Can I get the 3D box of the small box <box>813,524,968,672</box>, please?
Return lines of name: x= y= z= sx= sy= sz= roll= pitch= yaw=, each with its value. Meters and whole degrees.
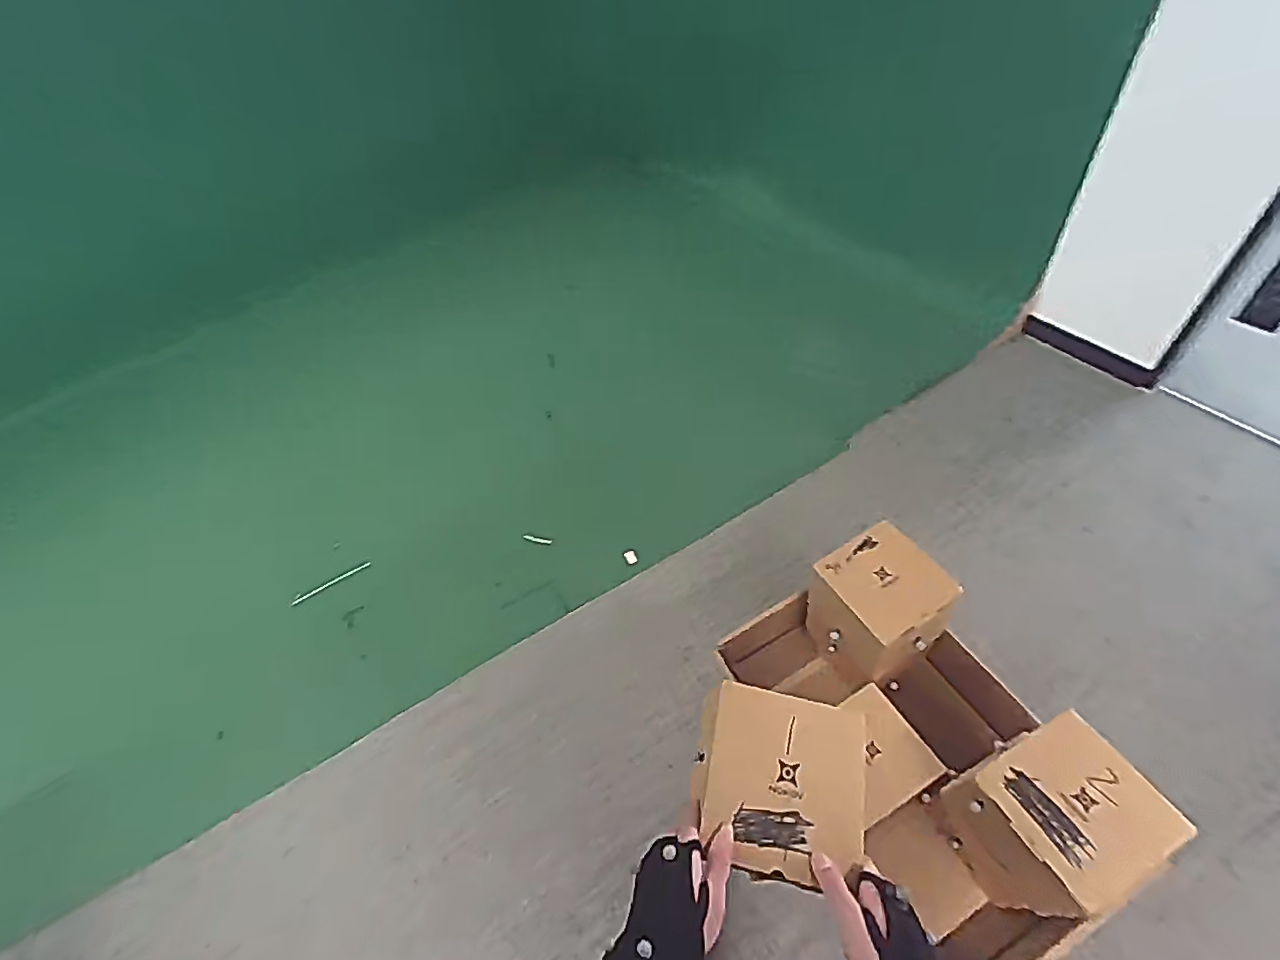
small box: x=0.428 y=0.217 z=0.957 sx=0.168 sy=0.176 sz=0.179 roll=-28 pitch=52 yaw=-9

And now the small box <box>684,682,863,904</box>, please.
small box: x=0.149 y=0.359 z=0.635 sx=0.168 sy=0.176 sz=0.179 roll=11 pitch=59 yaw=5
